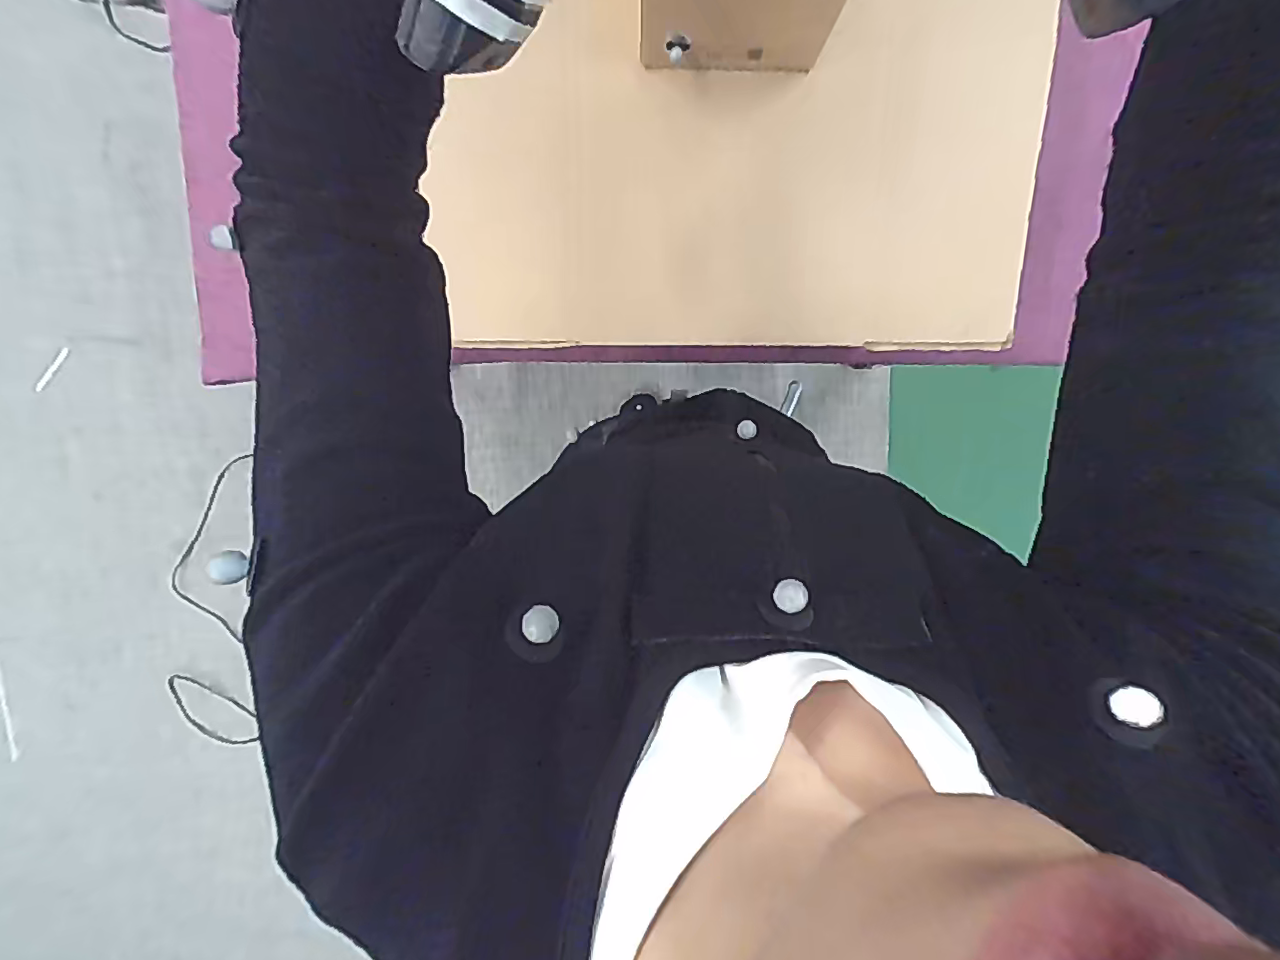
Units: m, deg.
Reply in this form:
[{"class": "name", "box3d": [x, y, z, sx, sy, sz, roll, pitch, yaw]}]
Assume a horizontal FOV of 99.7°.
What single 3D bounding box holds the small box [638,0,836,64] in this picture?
[{"class": "small box", "box3d": [0.083, -0.466, 0.419, 0.168, 0.176, 0.179, 1, 95, -1]}]
